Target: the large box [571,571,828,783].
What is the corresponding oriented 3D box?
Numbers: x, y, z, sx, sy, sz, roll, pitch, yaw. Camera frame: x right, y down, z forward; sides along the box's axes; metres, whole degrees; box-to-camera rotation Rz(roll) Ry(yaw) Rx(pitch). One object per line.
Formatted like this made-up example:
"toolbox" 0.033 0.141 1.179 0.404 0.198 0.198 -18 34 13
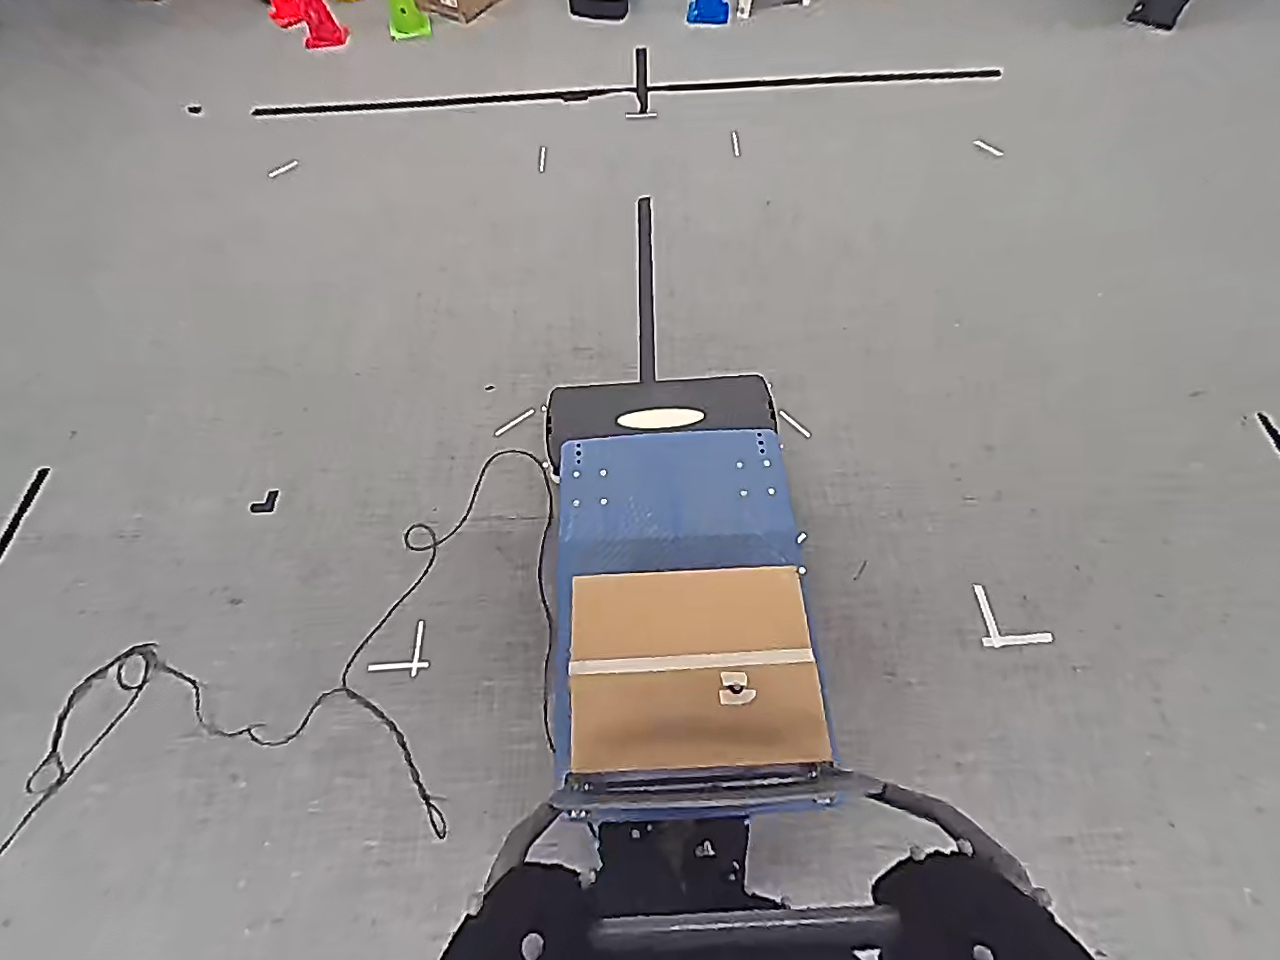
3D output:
"large box" 0.085 0.378 1.024 0.408 0.320 0.320 -3 64 -1
